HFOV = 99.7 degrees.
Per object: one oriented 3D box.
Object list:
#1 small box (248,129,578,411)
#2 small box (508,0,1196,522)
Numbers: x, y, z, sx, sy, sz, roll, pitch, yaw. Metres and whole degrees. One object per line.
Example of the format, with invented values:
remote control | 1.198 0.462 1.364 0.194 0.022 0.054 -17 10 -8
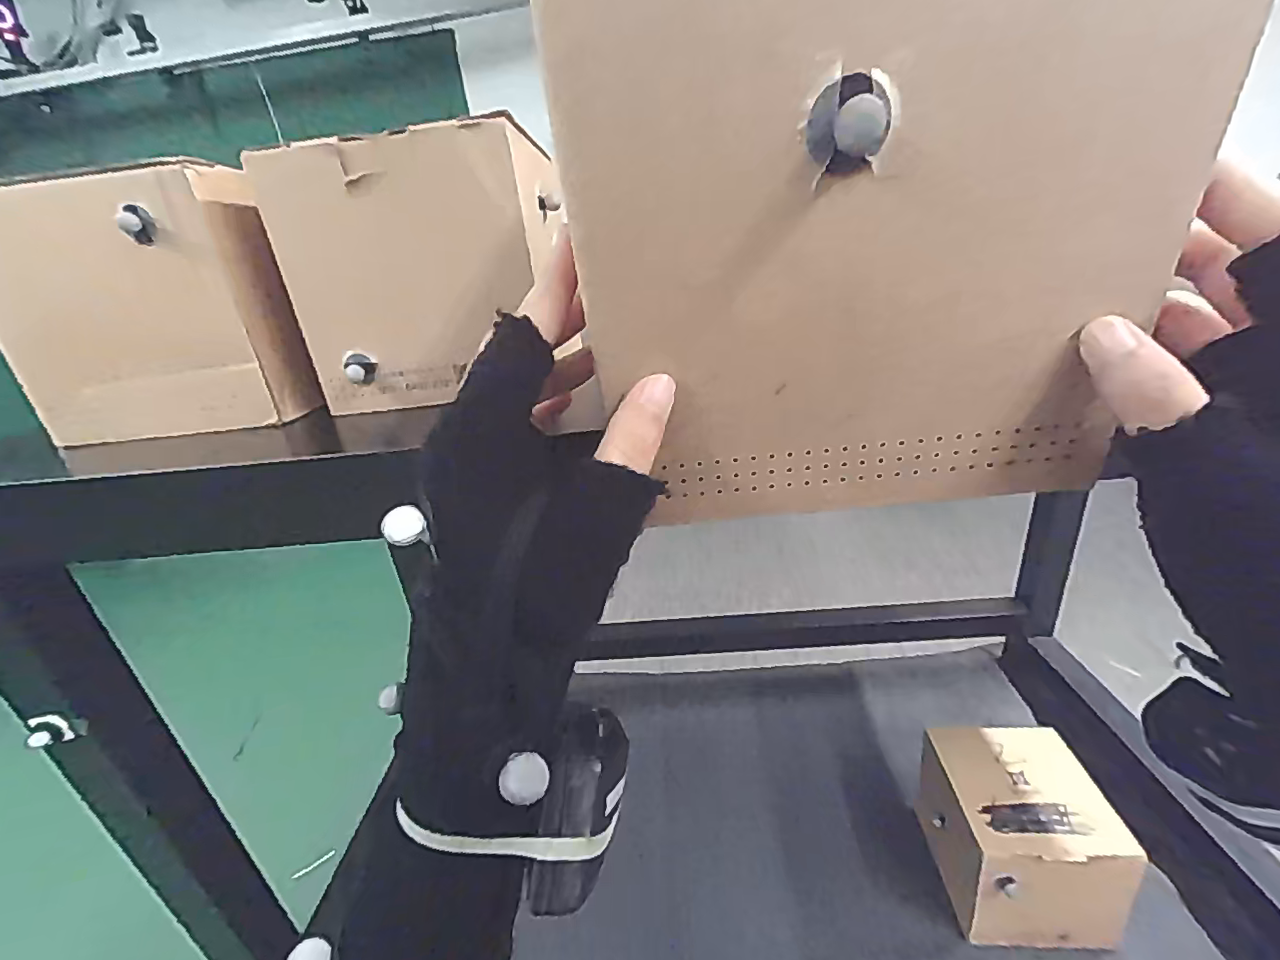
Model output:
small box | -0.149 -0.156 0.433 0.168 0.176 0.179 -6 23 4
small box | 0.065 -0.095 0.234 0.179 0.176 0.168 -5 32 5
